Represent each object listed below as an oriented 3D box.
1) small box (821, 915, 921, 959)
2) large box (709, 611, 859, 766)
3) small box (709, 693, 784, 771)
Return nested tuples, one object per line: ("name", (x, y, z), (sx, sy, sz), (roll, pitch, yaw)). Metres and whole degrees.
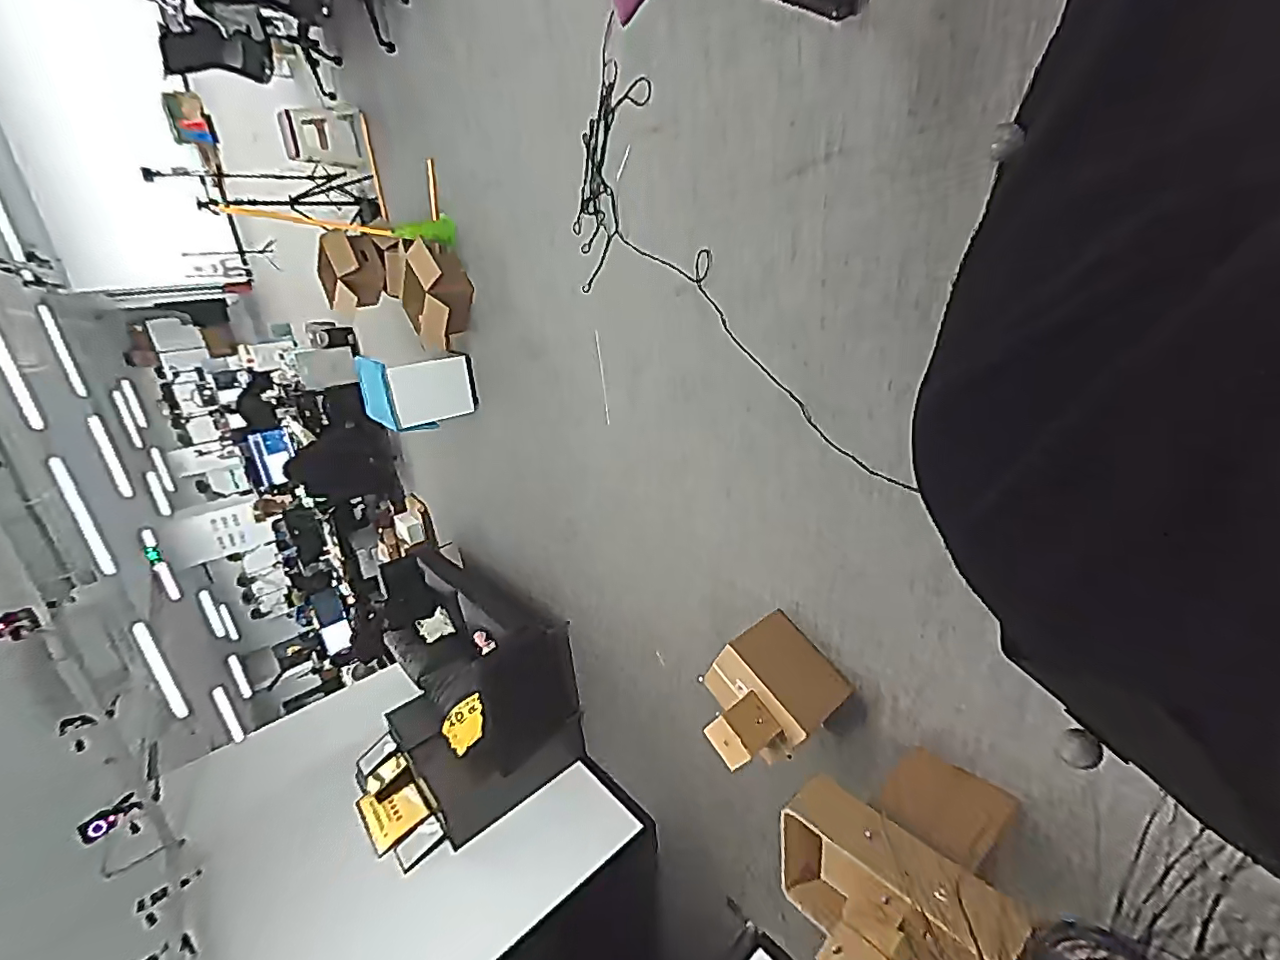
("small box", (0.601, 1.257, 1.363), (0.179, 0.176, 0.168), (-28, 85, 54))
("large box", (0.547, 0.795, 2.091), (0.408, 0.320, 0.320), (48, 140, 30))
("small box", (0.385, 0.902, 1.940), (0.168, 0.176, 0.179), (50, 142, 25))
